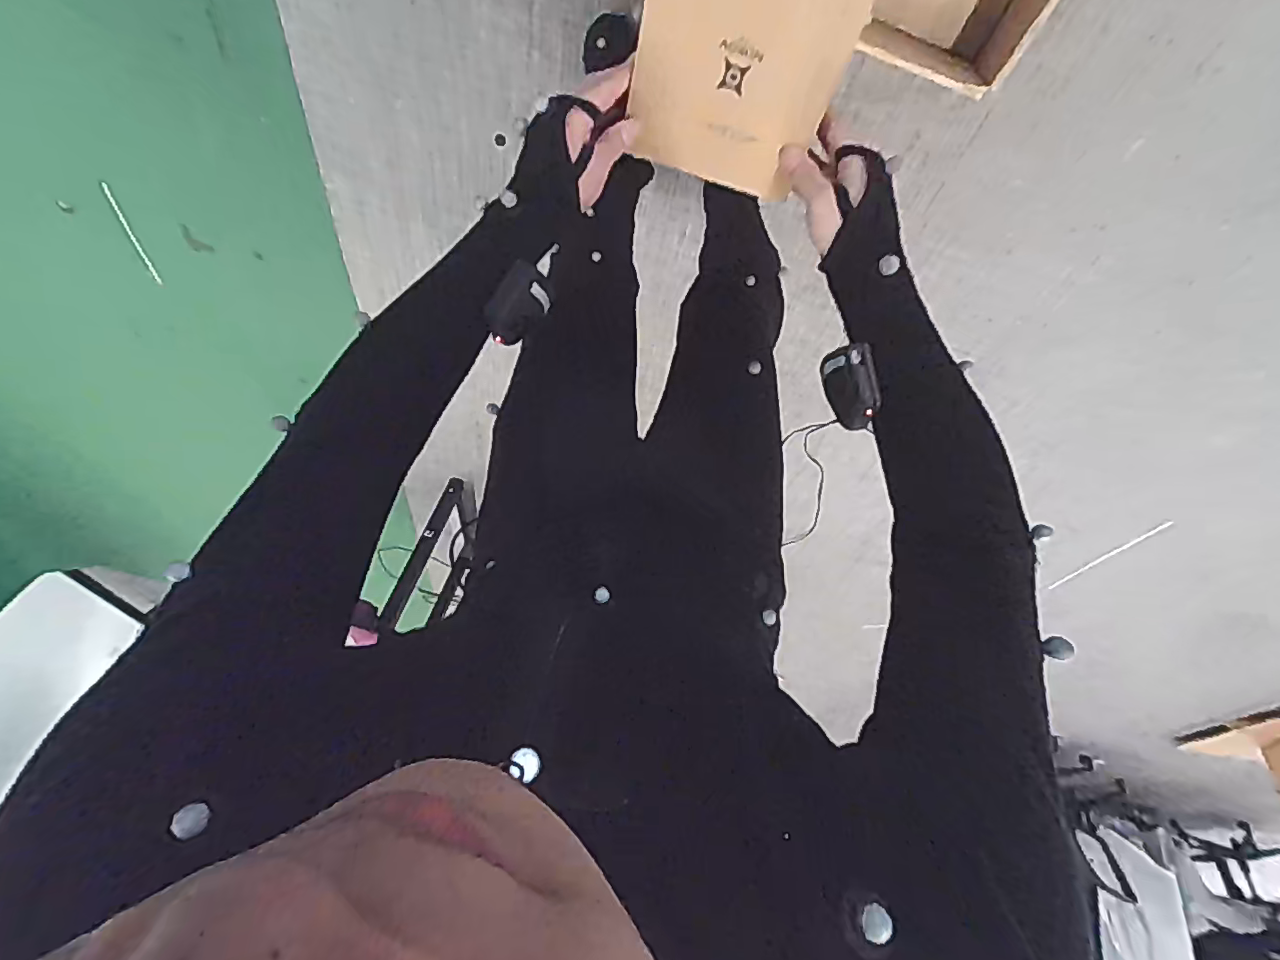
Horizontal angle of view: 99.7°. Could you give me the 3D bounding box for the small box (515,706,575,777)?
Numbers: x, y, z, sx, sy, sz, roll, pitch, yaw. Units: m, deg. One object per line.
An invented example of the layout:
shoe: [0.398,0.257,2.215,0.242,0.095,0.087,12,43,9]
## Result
small box: [-0.328,0.910,1.882,0.168,0.176,0.179,14,142,0]

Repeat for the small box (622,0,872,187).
small box: [0.095,-0.406,0.476,0.168,0.176,0.179,17,145,-3]
